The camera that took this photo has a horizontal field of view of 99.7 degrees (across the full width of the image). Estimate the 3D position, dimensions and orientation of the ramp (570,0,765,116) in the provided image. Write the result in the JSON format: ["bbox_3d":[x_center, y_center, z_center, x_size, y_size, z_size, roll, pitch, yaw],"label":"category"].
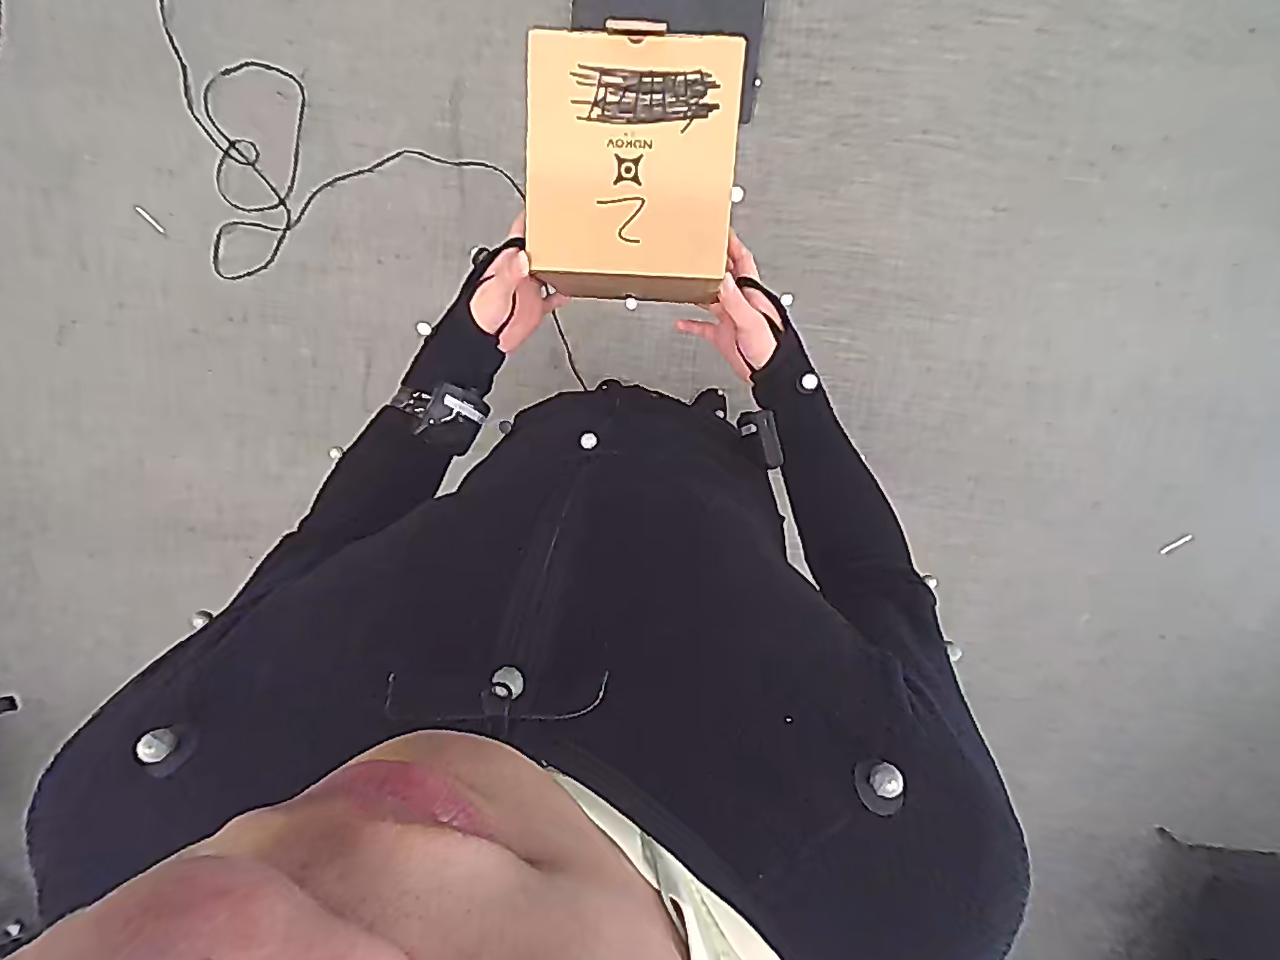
[{"bbox_3d":[0.092,-1.451,1.265,0.509,0.206,0.991,3,101,0],"label":"ramp"}]
